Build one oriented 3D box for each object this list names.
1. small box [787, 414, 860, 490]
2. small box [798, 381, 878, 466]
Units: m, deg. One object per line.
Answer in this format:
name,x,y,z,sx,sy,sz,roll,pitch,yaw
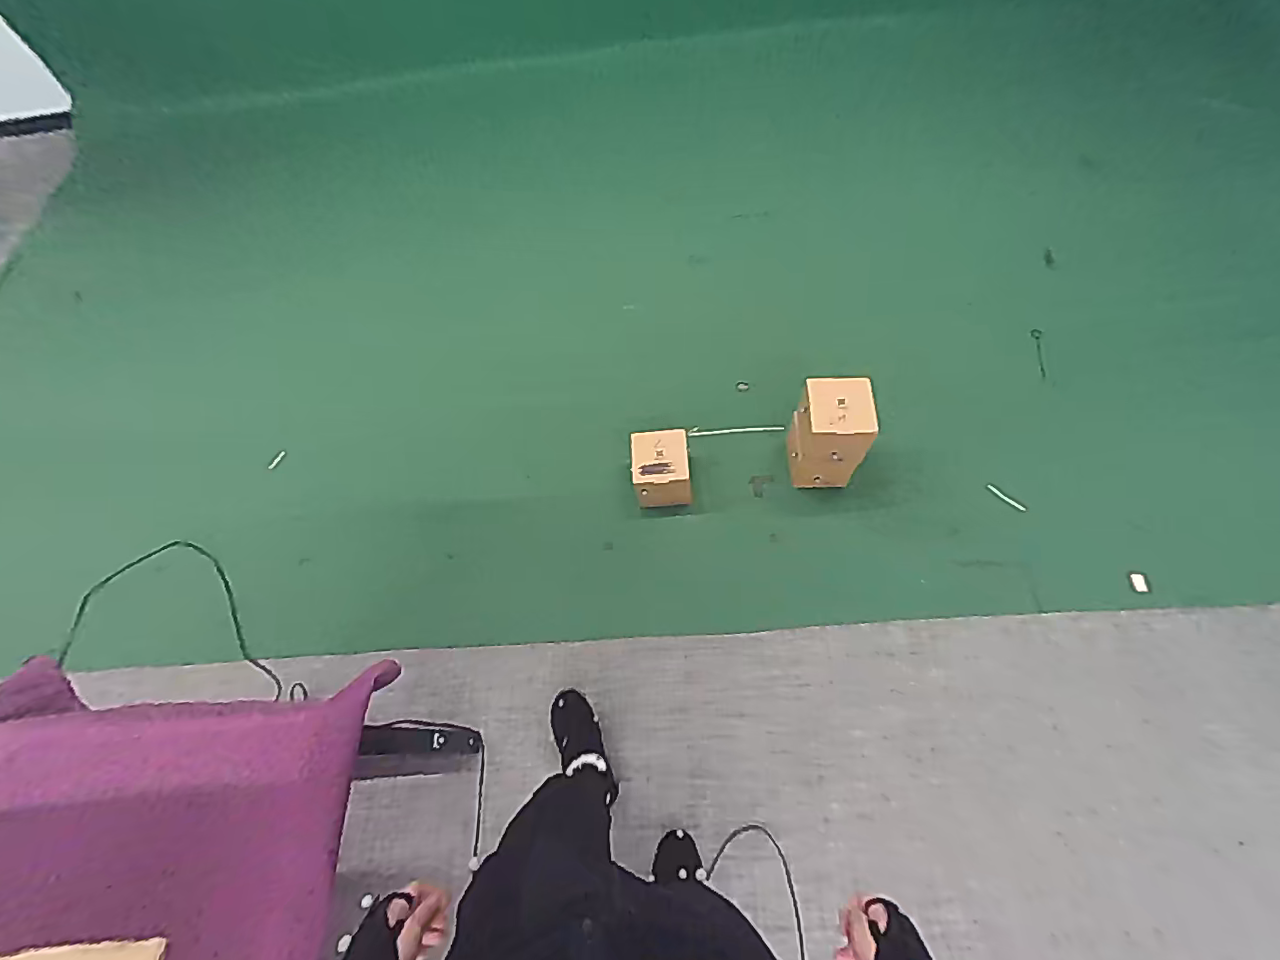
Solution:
small box,0.547,-0.084,1.636,0.168,0.176,0.179,-1,64,5
small box,0.536,-0.154,1.487,0.168,0.176,0.179,0,64,6
